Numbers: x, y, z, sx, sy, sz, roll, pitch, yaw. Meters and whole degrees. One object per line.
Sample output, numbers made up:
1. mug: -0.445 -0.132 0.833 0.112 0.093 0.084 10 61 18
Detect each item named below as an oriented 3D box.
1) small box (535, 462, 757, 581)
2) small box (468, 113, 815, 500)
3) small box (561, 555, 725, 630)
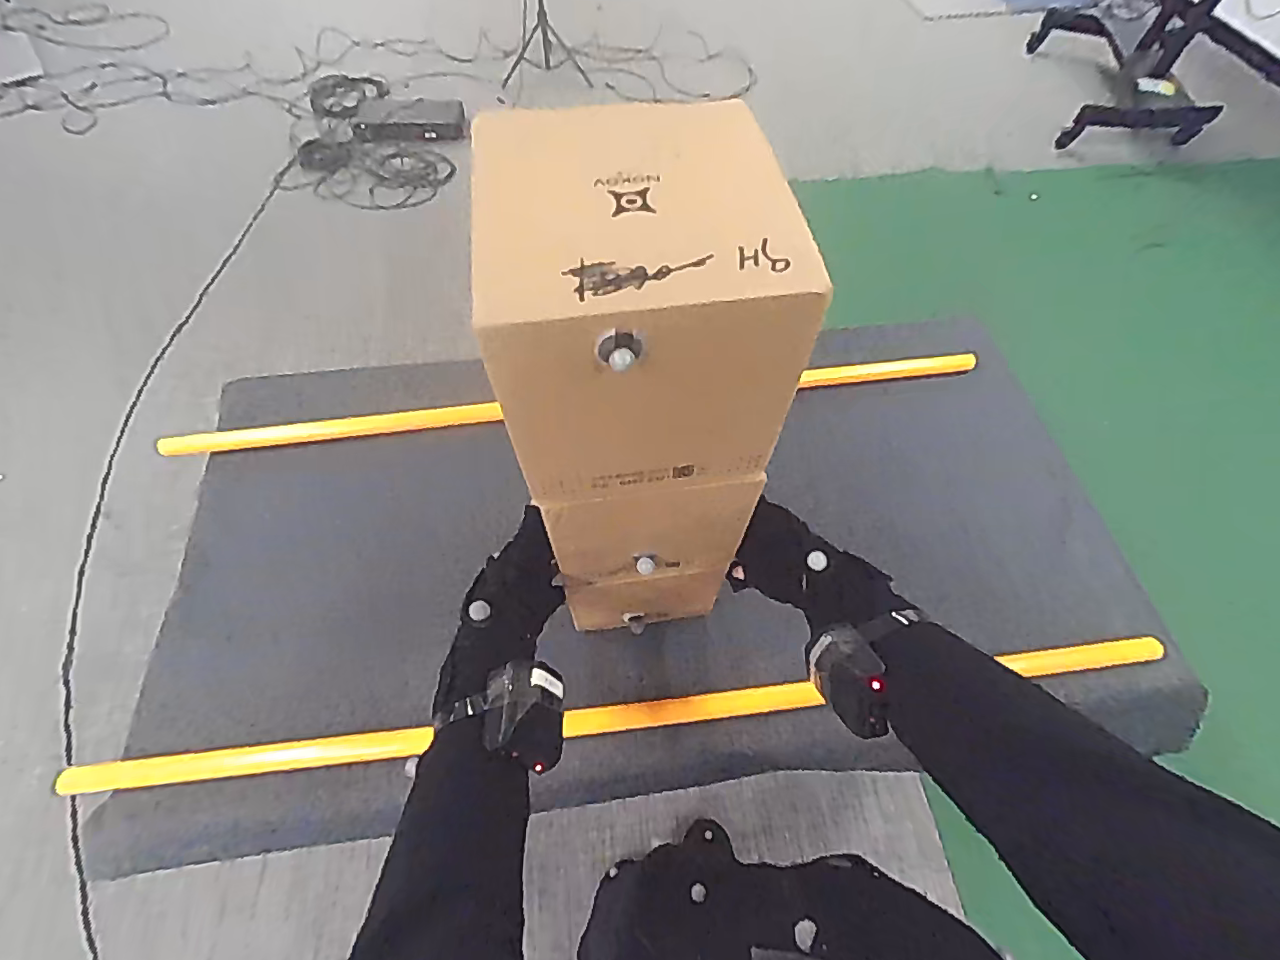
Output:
1. small box: -0.006 -0.024 0.501 0.168 0.176 0.179 -7 60 -4
2. small box: -0.008 -0.108 0.361 0.168 0.176 0.179 -8 59 -4
3. small box: -0.009 0.061 0.642 0.168 0.176 0.179 -8 61 -5
